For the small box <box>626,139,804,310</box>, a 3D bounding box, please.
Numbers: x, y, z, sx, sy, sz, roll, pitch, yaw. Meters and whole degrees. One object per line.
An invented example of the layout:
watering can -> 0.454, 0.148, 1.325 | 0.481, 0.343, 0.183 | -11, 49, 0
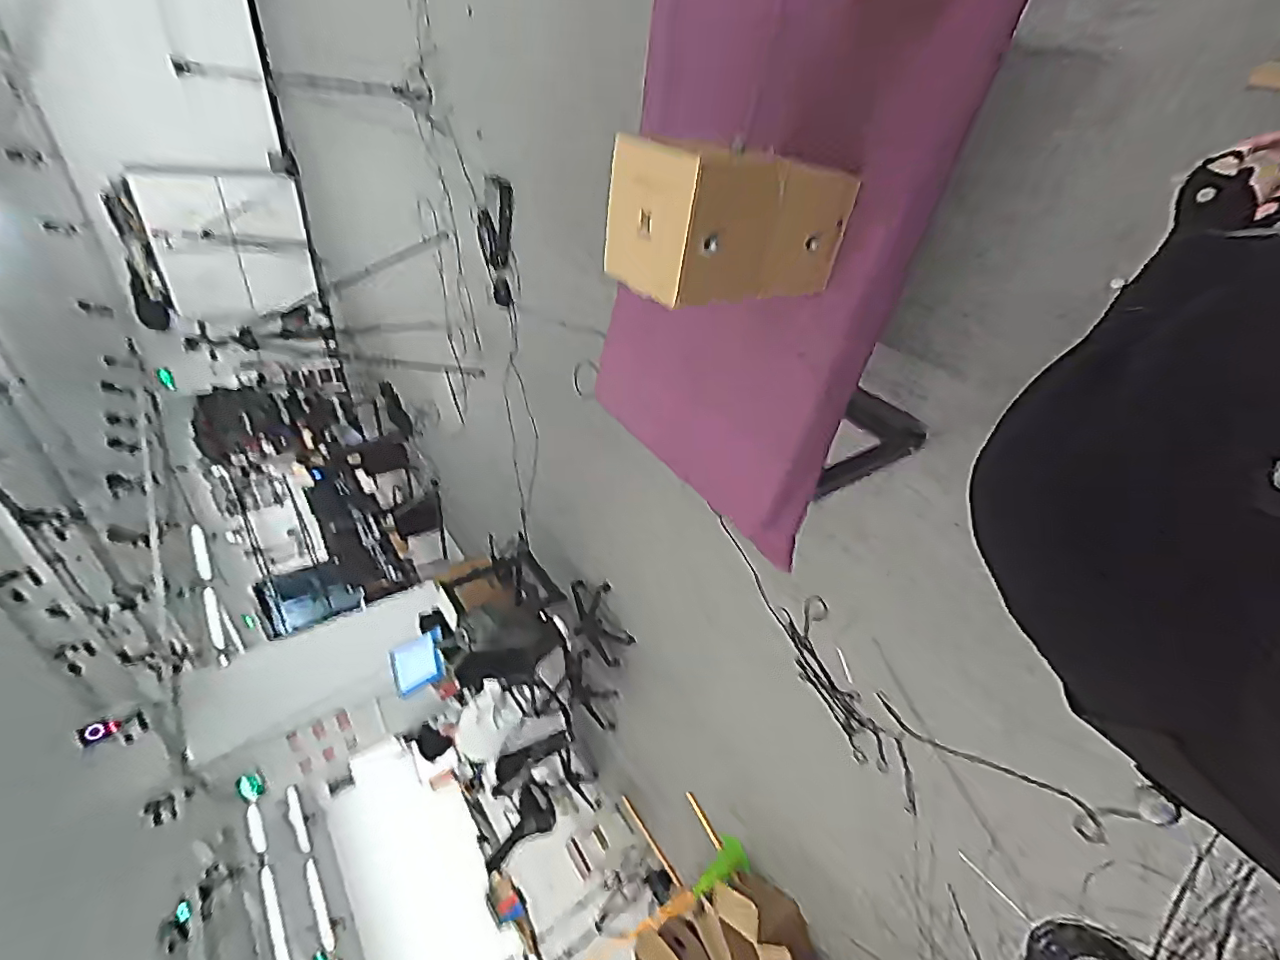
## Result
small box -> 0.100, -0.360, 0.757 | 0.168, 0.176, 0.179 | 43, 139, 37

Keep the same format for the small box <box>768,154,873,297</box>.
small box -> 0.227, -0.405, 0.848 | 0.179, 0.176, 0.168 | 44, 140, 37
